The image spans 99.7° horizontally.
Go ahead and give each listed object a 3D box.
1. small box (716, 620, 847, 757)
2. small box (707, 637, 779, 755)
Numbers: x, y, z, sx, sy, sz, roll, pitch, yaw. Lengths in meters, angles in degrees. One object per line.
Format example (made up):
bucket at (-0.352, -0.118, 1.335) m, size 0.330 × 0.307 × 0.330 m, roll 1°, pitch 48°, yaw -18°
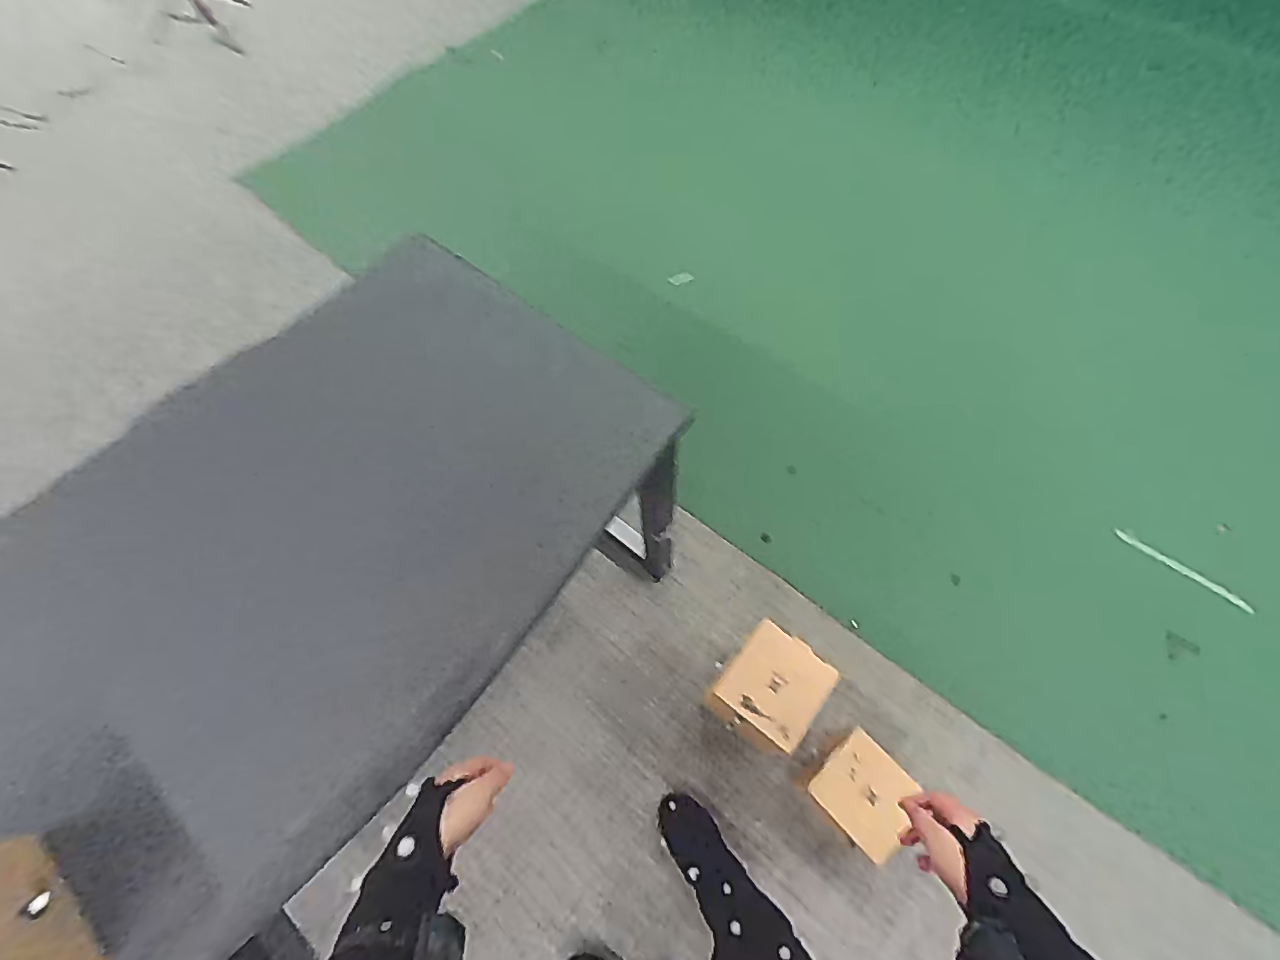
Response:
small box at (0.263, 0.405, 1.050) m, size 0.168 × 0.176 × 0.179 m, roll 37°, pitch 71°, yaw 18°
small box at (0.266, 0.478, 1.198) m, size 0.179 × 0.176 × 0.168 m, roll 35°, pitch 70°, yaw 19°
